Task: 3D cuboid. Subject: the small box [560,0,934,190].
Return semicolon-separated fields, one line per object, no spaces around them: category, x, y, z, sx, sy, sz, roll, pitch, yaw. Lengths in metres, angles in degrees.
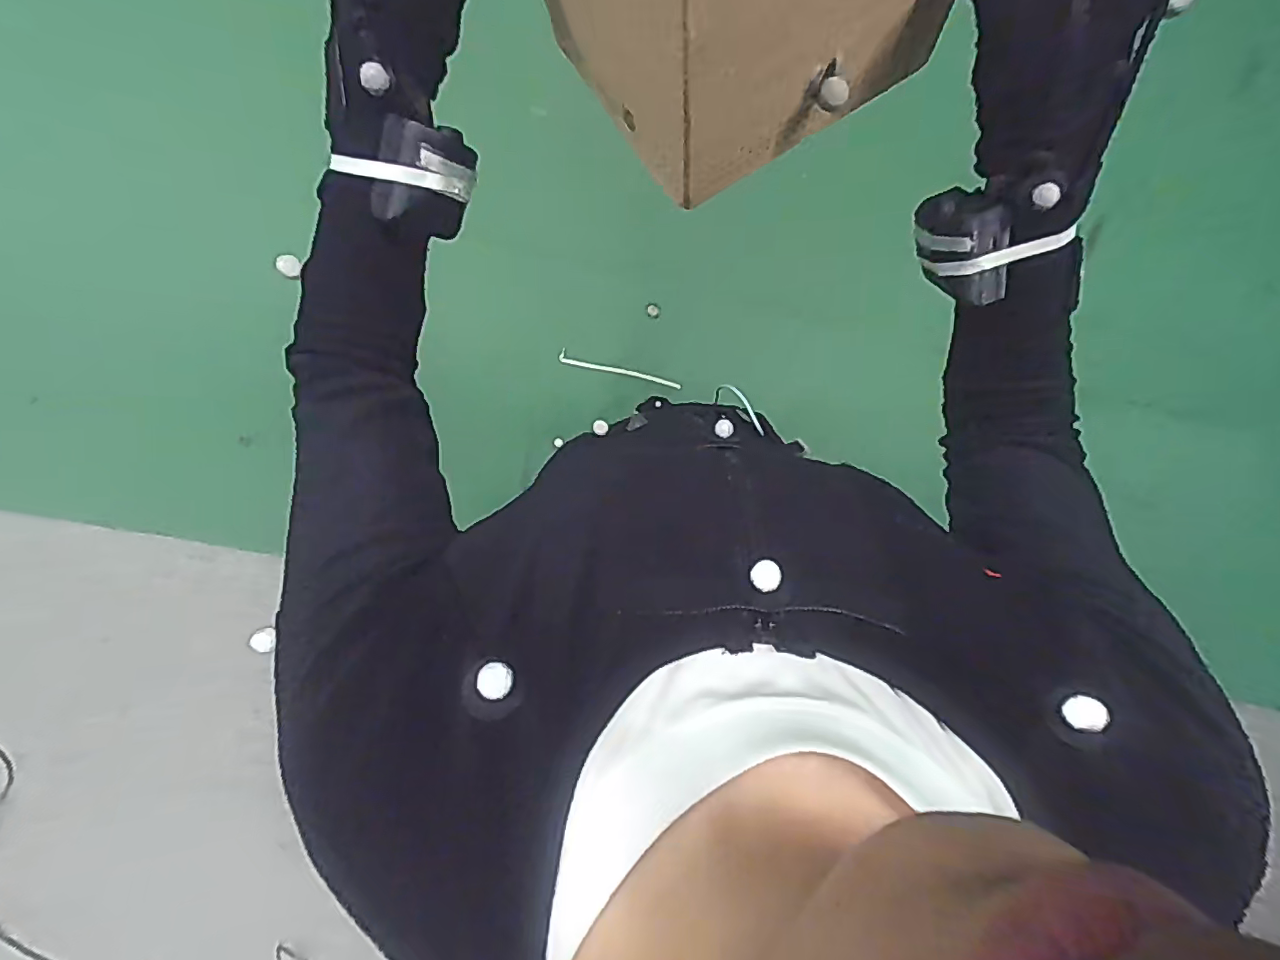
small box;0.052;-0.297;0.269;0.179;0.176;0.168;-33;77;-2
